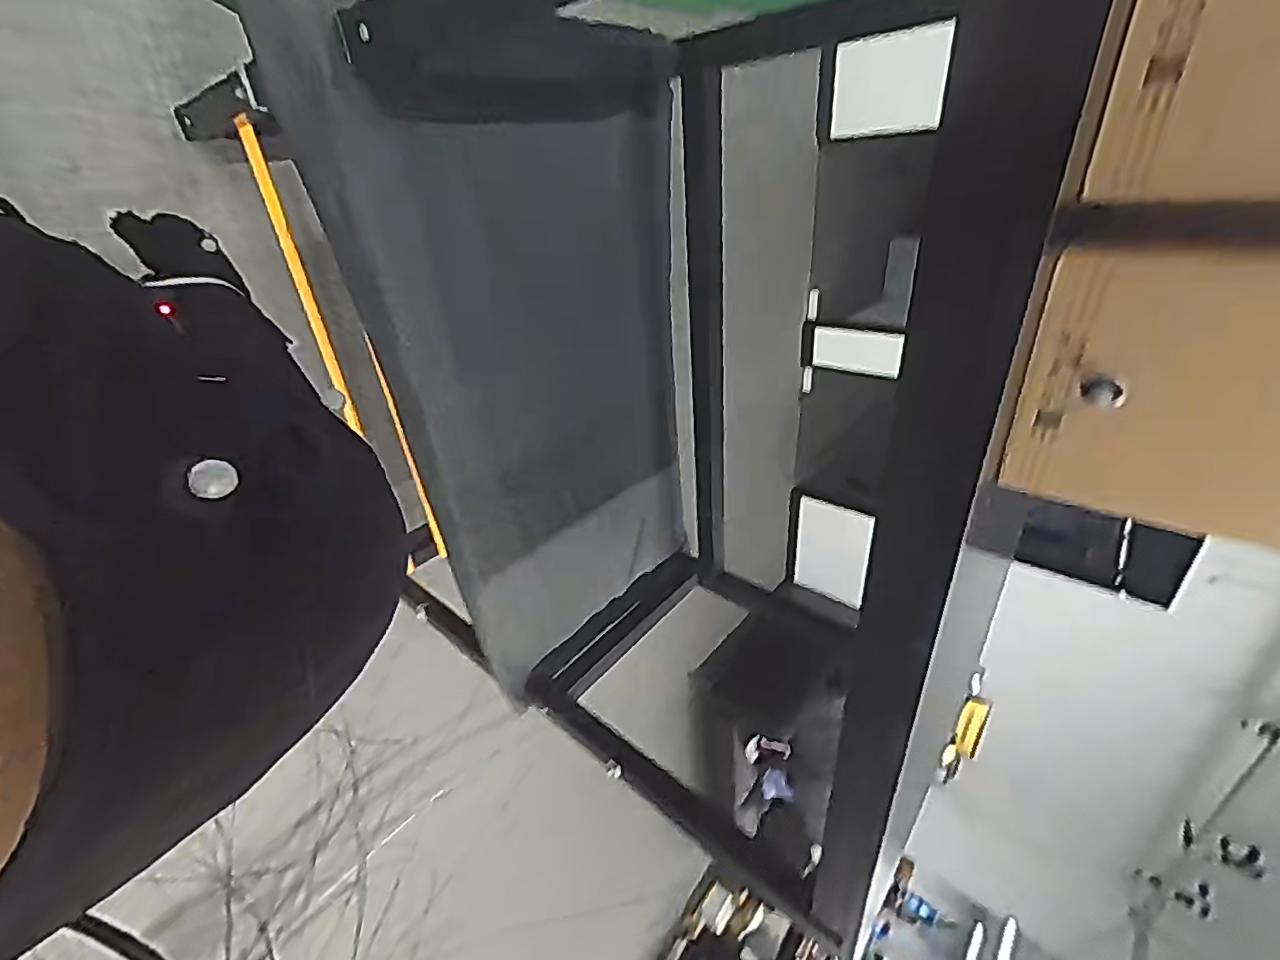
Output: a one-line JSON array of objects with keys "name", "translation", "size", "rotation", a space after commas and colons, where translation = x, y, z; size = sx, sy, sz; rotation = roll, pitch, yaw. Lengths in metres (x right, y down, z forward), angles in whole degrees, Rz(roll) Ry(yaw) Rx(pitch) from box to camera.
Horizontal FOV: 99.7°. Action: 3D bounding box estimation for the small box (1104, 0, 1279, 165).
[{"name": "small box", "translation": [0.357, -0.259, 0.257], "size": [0.179, 0.176, 0.168], "rotation": [-39, 135, -34]}]
